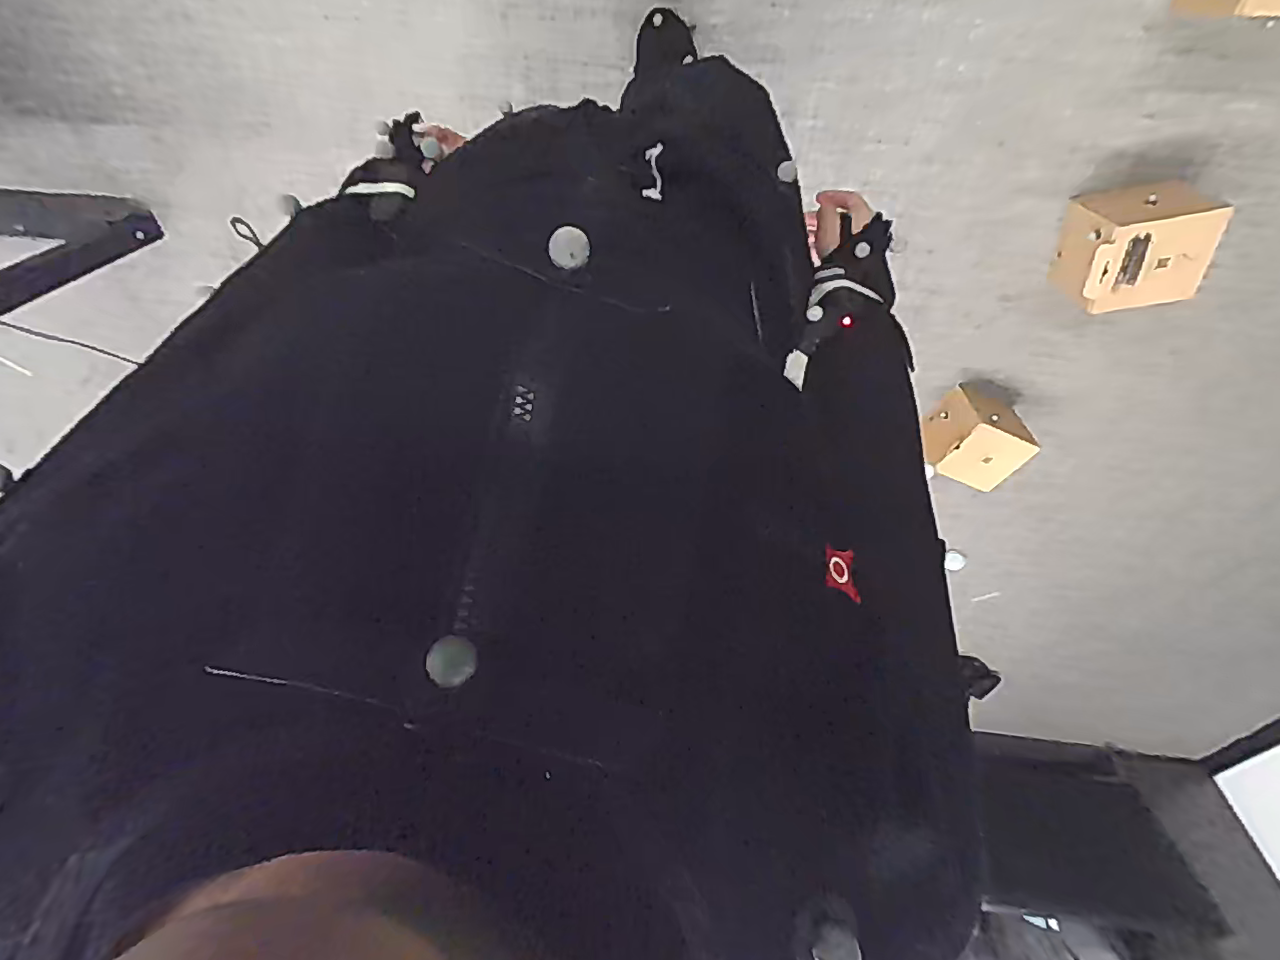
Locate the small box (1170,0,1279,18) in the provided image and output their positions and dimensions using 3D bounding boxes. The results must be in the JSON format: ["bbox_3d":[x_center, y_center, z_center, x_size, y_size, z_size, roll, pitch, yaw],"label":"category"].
[{"bbox_3d":[0.916,-0.751,0.749,0.179,0.176,0.168,2,134,4],"label":"small box"}]

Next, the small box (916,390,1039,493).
[{"bbox_3d":[0.837,-0.100,1.360,0.179,0.176,0.168,20,132,-11],"label":"small box"}]
